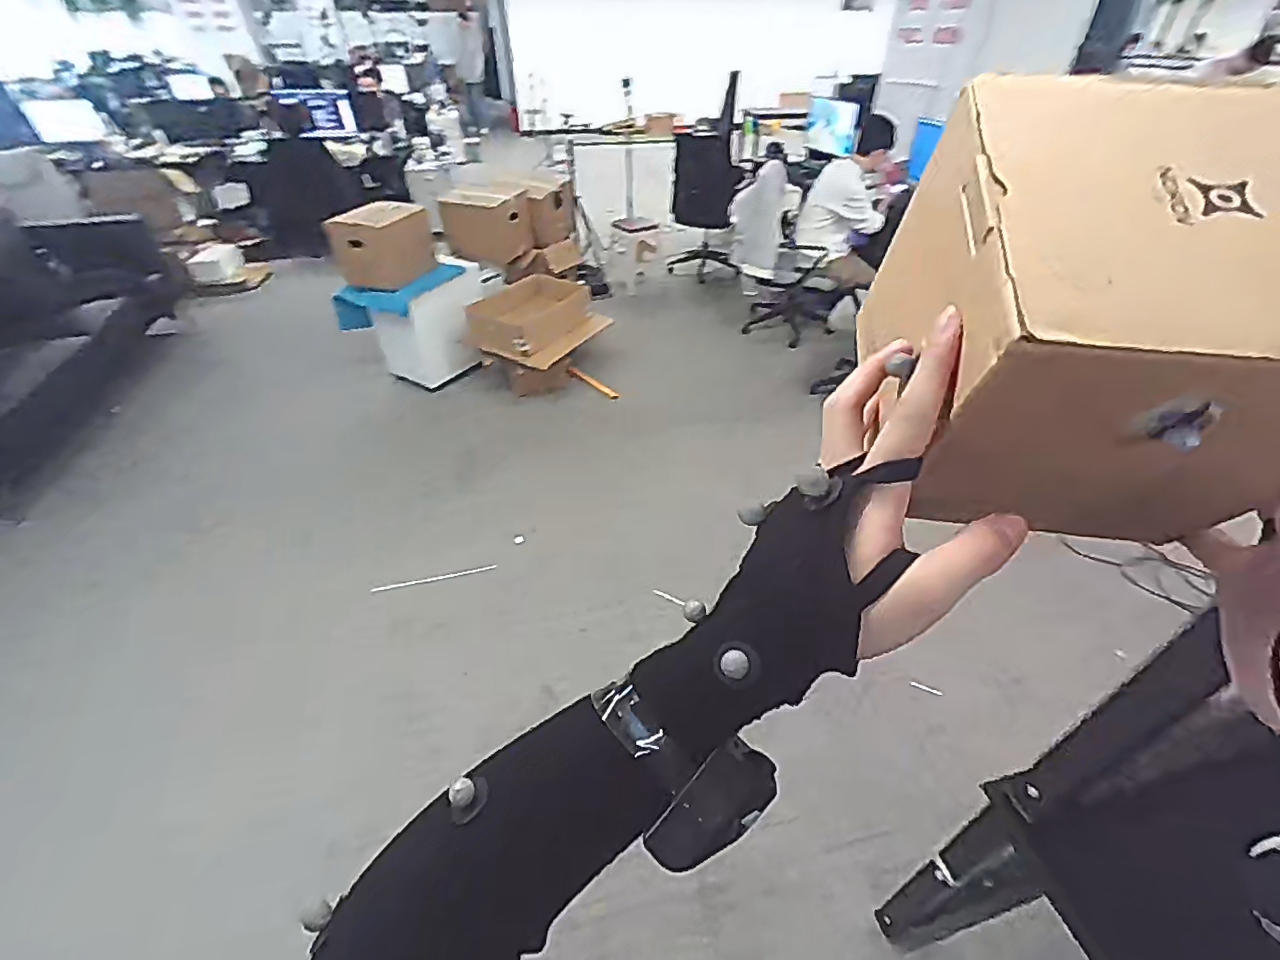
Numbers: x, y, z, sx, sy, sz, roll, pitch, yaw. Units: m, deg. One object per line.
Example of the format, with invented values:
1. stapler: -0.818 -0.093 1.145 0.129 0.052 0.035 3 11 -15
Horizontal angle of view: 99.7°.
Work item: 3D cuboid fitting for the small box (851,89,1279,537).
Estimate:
1. small box: 0.227 -0.078 0.299 0.179 0.176 0.168 6 64 4
